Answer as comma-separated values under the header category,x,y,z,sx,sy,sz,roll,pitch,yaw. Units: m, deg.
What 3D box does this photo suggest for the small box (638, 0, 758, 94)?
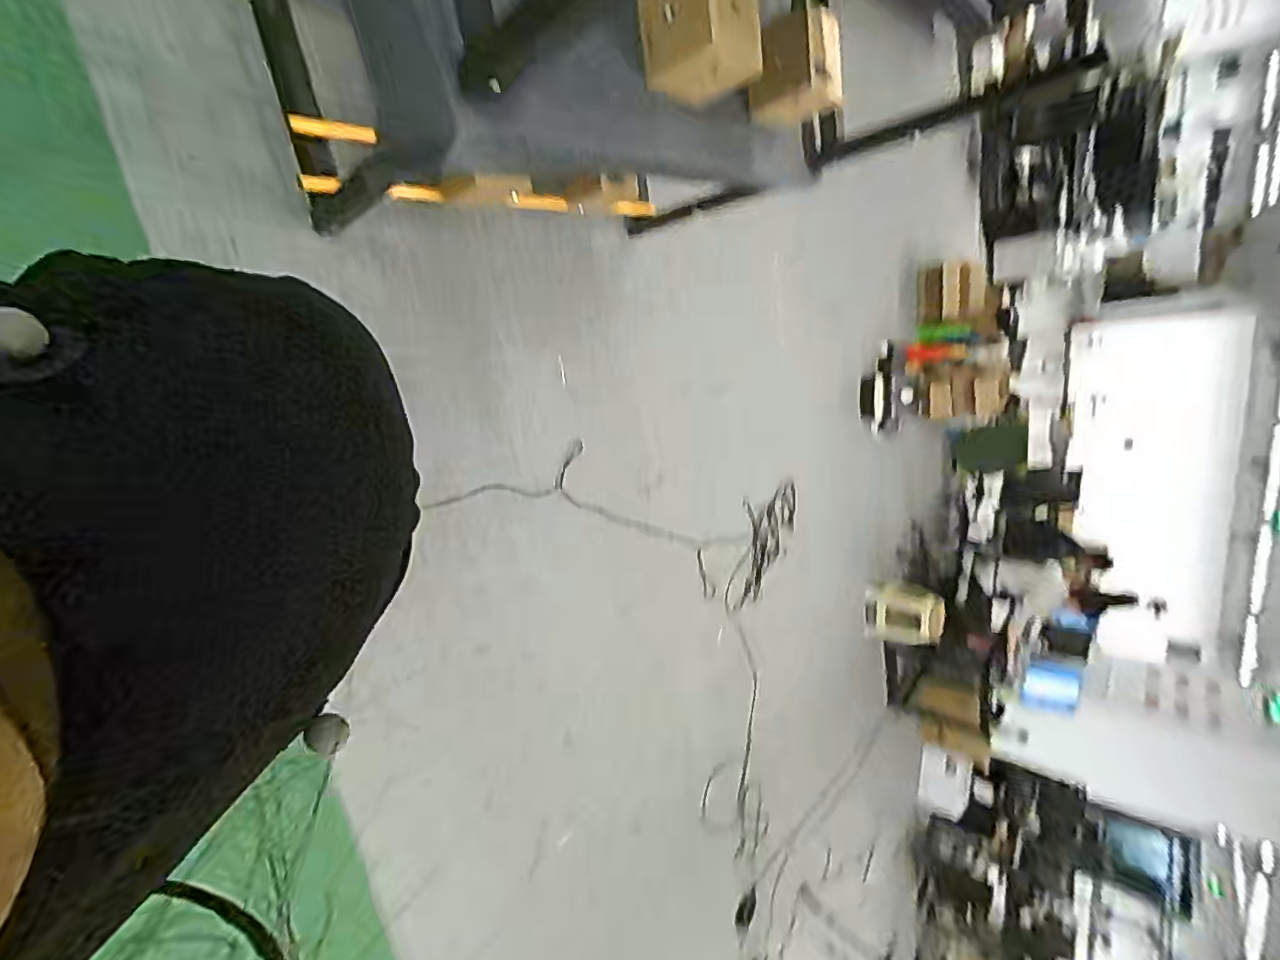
category,x,y,z,sx,sy,sz,roll,pitch,yaw
small box,0.110,-0.897,1.061,0.179,0.176,0.168,-20,109,-44

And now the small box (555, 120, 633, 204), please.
category,x,y,z,sx,sy,sz,roll,pitch,yaw
small box,-0.145,-0.984,1.693,0.168,0.176,0.179,-20,109,-44
